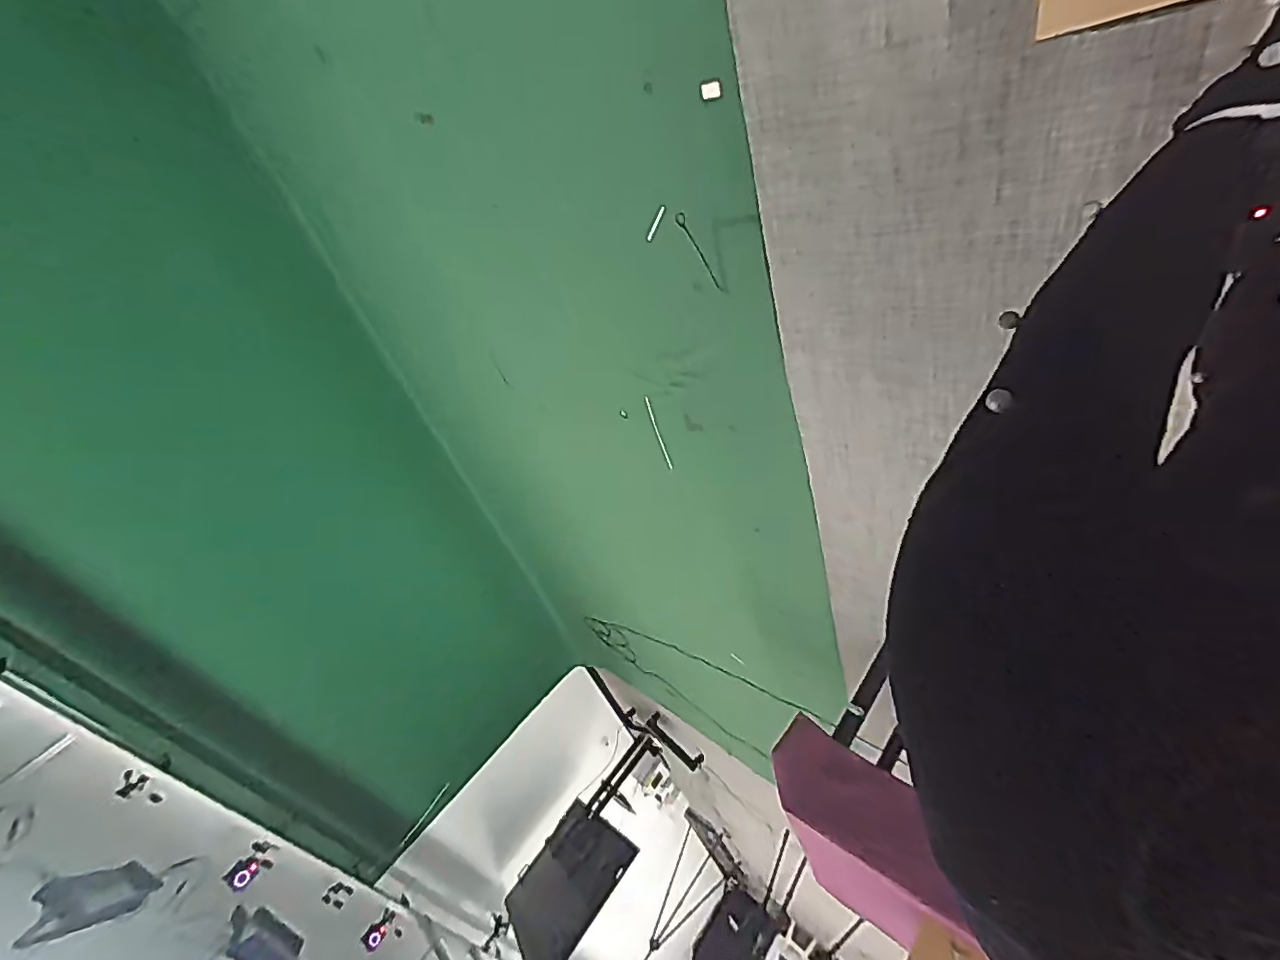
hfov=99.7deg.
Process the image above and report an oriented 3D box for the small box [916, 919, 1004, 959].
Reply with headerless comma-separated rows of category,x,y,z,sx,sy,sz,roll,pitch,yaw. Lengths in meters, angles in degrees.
small box,0.808,1.258,1.363,0.179,0.176,0.168,16,141,44
